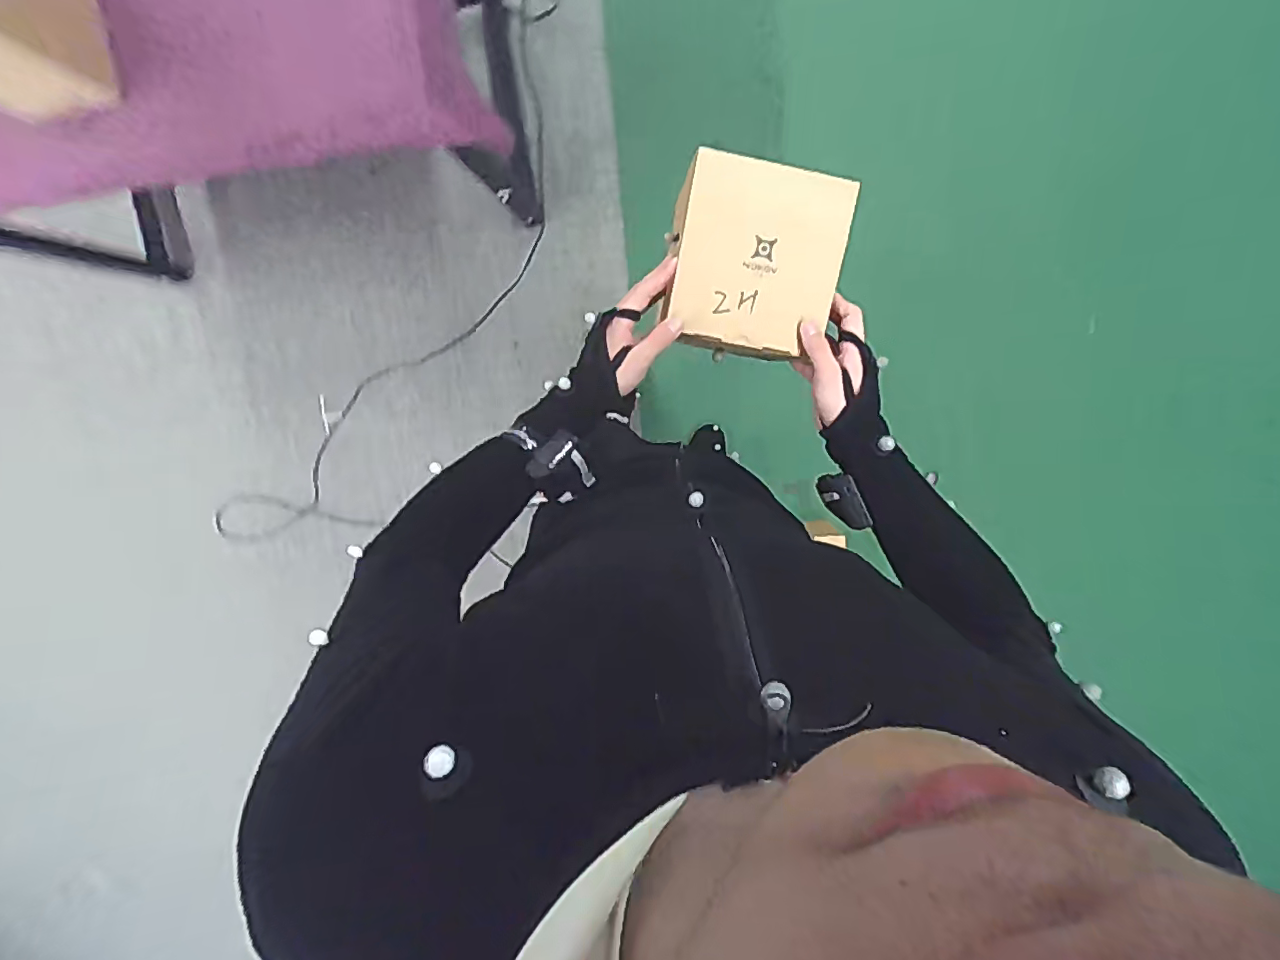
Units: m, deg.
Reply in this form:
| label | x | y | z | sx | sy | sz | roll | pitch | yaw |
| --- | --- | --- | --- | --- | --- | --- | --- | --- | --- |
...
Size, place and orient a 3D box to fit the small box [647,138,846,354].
| label | x | y | z | sx | sy | sz | roll | pitch | yaw |
| --- | --- | --- | --- | --- | --- | --- | --- | --- | --- |
| small box | 0.104 | -0.247 | 0.616 | 0.168 | 0.176 | 0.179 | 10 | 102 | -5 |
